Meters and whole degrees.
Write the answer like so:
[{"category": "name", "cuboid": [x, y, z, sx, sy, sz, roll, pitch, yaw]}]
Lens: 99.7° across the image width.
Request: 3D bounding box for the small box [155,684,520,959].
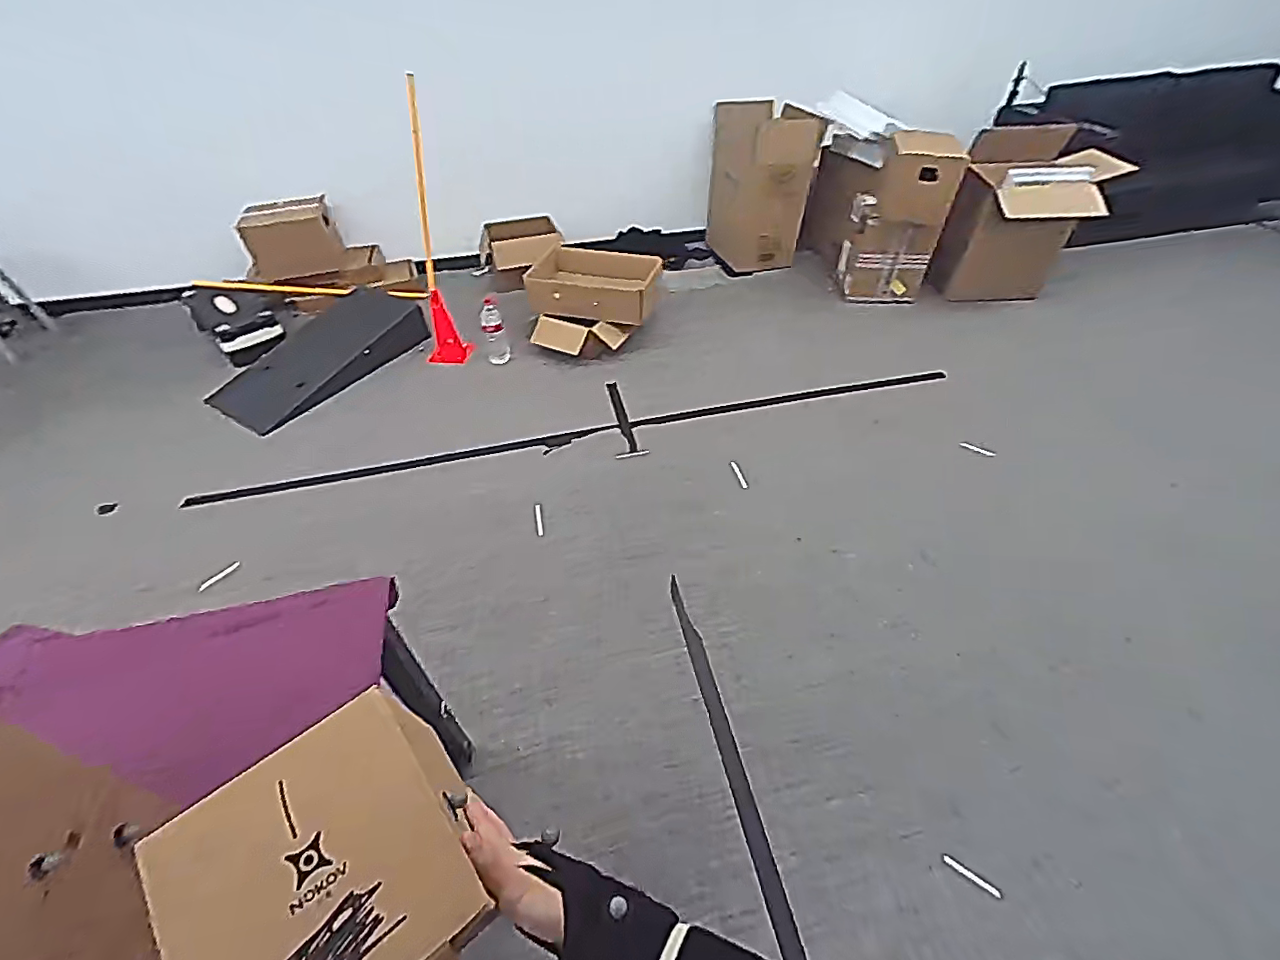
[{"category": "small box", "cuboid": [-0.210, 0.296, 0.418, 0.168, 0.176, 0.179, -31, 62, -23]}]
